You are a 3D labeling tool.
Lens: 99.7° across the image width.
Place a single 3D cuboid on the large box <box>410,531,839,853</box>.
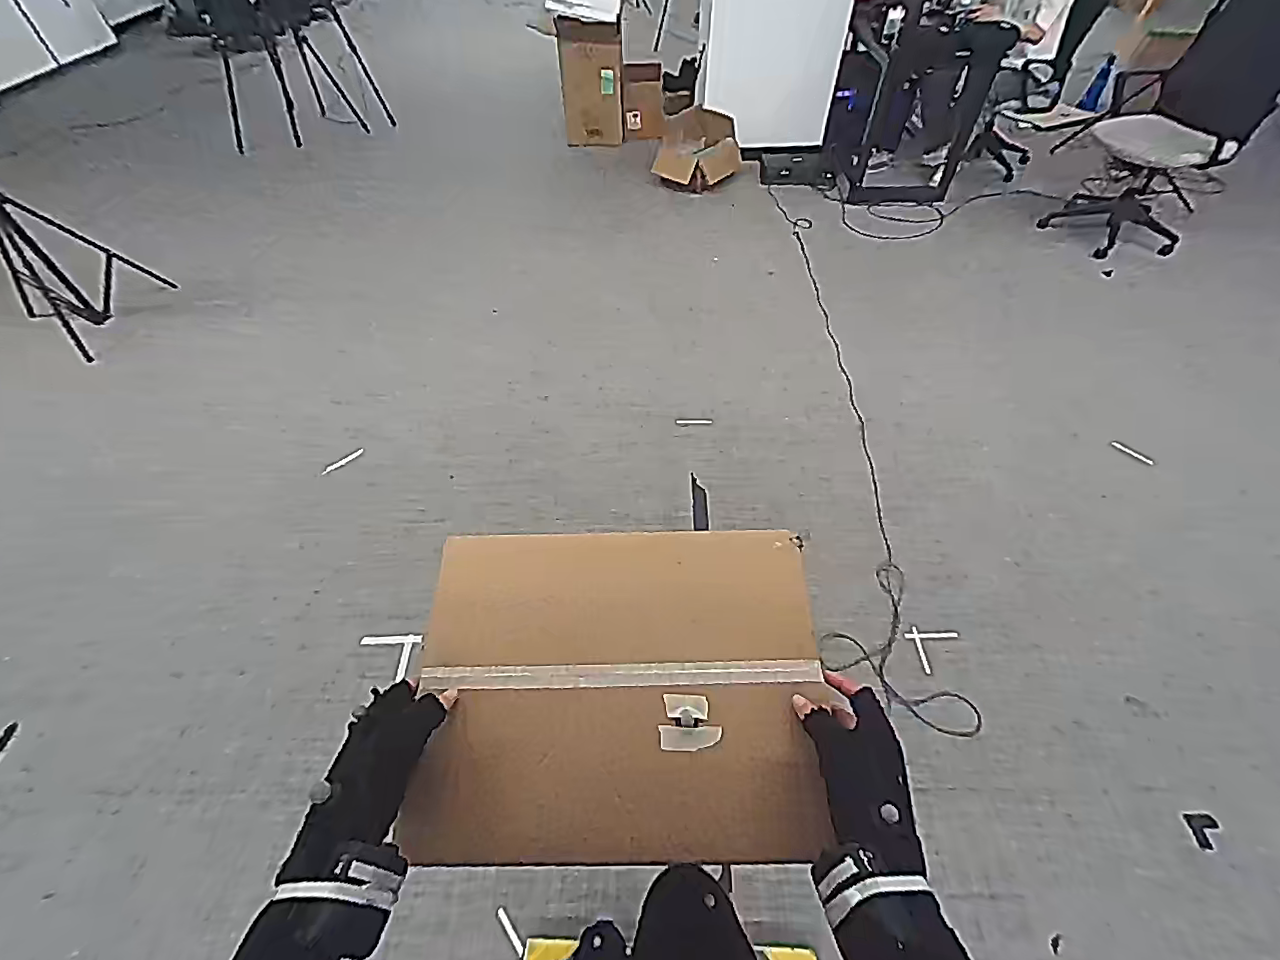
[{"bbox_3d":[-0.017,0.273,0.694,0.408,0.320,0.320,-1,60,0],"label":"large box"}]
